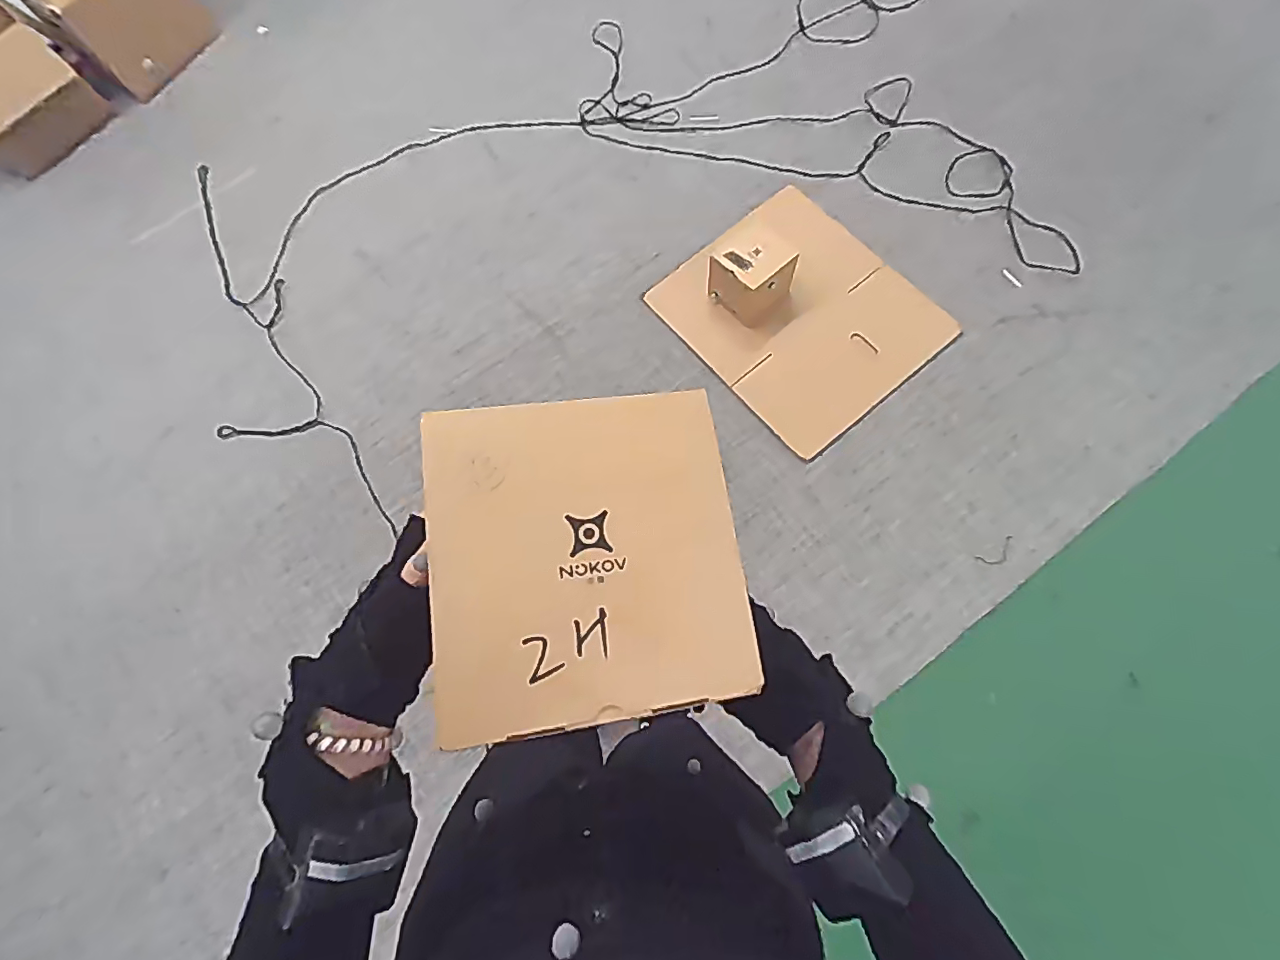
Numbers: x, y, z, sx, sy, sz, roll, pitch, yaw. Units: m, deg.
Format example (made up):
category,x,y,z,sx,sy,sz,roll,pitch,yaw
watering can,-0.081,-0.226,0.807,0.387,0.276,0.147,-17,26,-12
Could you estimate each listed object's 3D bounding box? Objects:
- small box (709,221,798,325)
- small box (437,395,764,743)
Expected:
category,x,y,z,sx,sy,sz,roll,pitch,yaw
small box,0.311,-0.571,1.513,0.179,0.176,0.168,-40,74,-8
small box,-0.036,0.058,0.370,0.168,0.176,0.179,-6,76,-10
